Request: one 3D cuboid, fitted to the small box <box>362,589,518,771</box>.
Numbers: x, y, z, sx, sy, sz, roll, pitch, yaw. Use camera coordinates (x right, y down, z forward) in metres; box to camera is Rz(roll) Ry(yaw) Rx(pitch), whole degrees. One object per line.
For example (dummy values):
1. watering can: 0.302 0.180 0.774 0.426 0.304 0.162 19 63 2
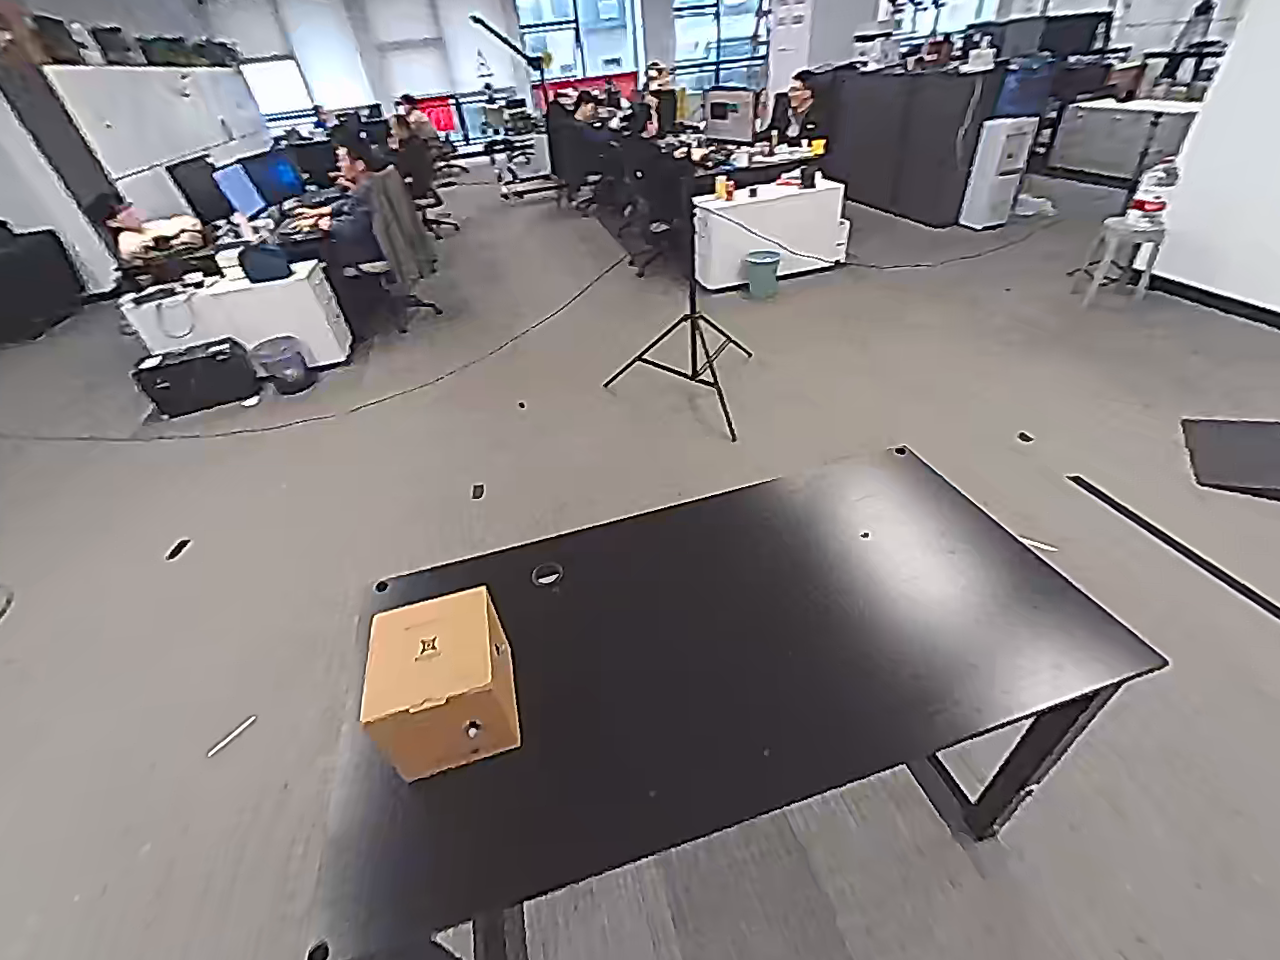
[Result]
1. small box: -0.282 0.296 0.792 0.168 0.176 0.179 -13 38 -10
